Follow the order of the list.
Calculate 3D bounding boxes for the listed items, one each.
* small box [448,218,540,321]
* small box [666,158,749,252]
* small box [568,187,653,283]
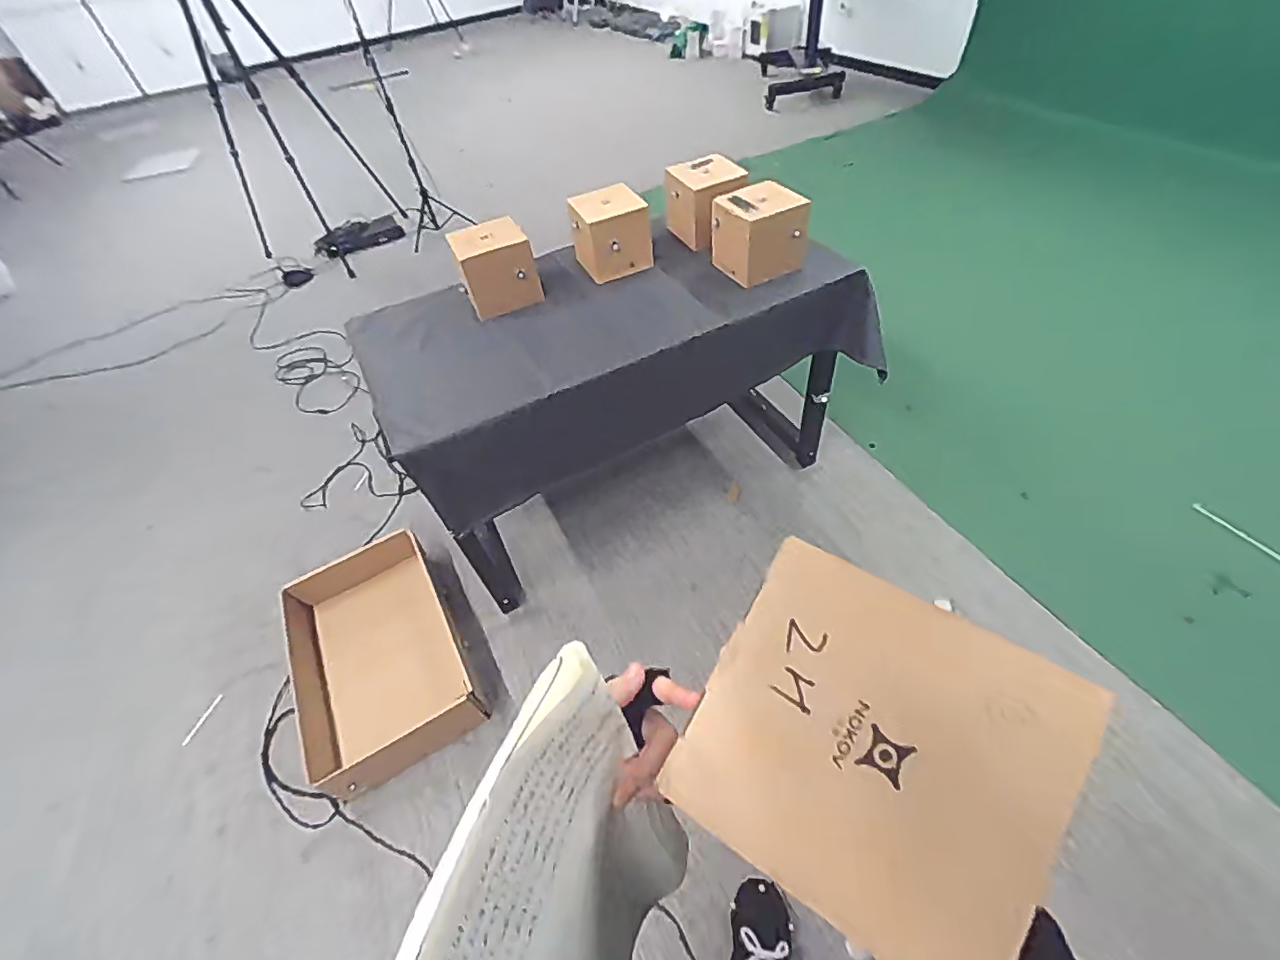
[{"bbox_3d":[-0.365,-0.537,1.385,0.179,0.176,0.168,-22,50,-13],"label":"small box"},{"bbox_3d":[0.185,-0.763,1.506,0.168,0.176,0.179,-23,51,-11],"label":"small box"},{"bbox_3d":[-0.076,-0.650,1.447,0.168,0.176,0.179,-22,50,-11],"label":"small box"}]
